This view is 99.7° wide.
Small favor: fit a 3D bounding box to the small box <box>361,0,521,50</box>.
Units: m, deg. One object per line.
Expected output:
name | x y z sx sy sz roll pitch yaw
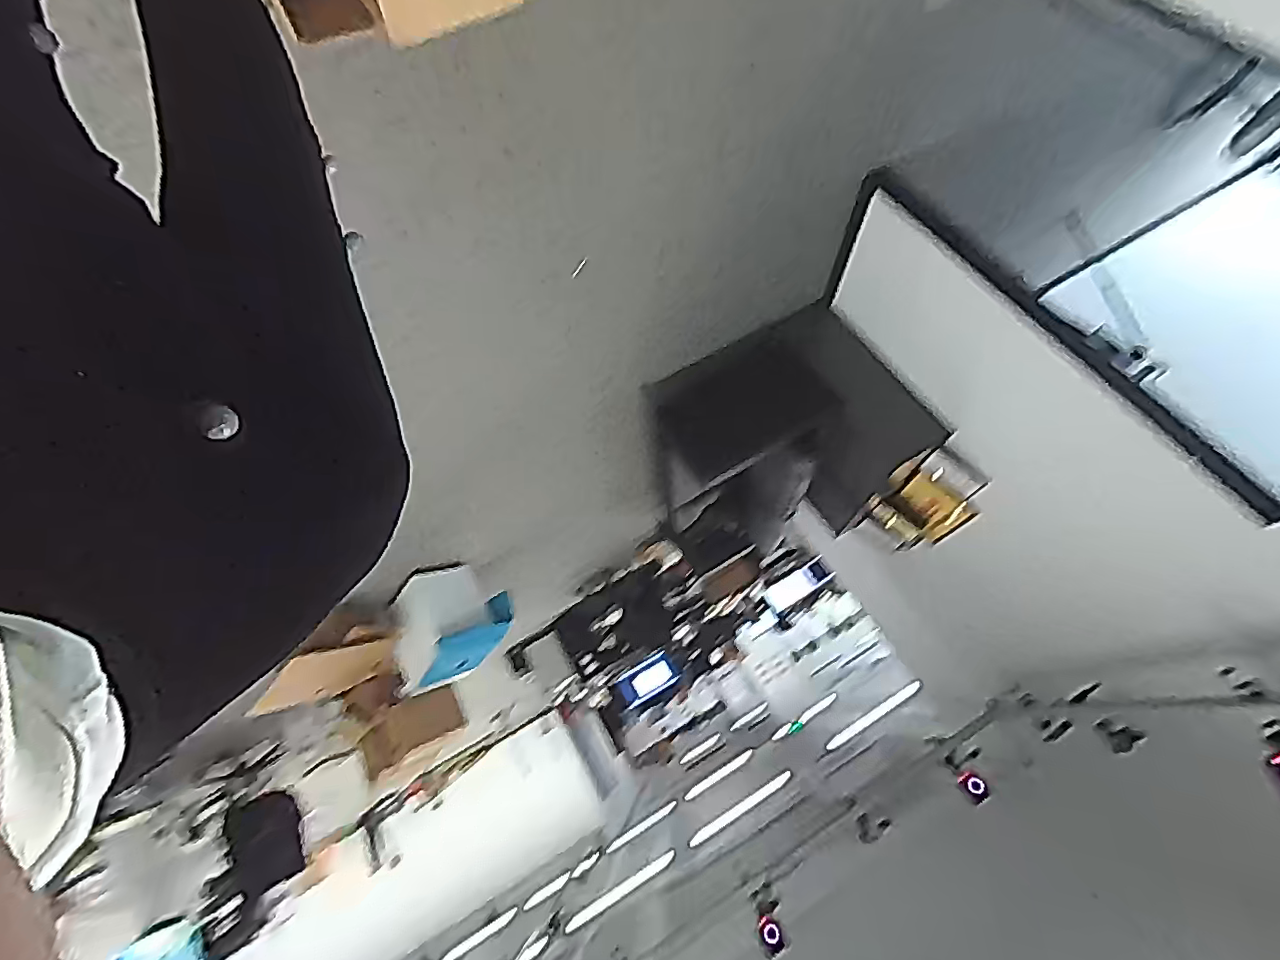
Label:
small box | -0.264 -0.648 0.619 0.179 0.176 0.168 -28 158 -11
